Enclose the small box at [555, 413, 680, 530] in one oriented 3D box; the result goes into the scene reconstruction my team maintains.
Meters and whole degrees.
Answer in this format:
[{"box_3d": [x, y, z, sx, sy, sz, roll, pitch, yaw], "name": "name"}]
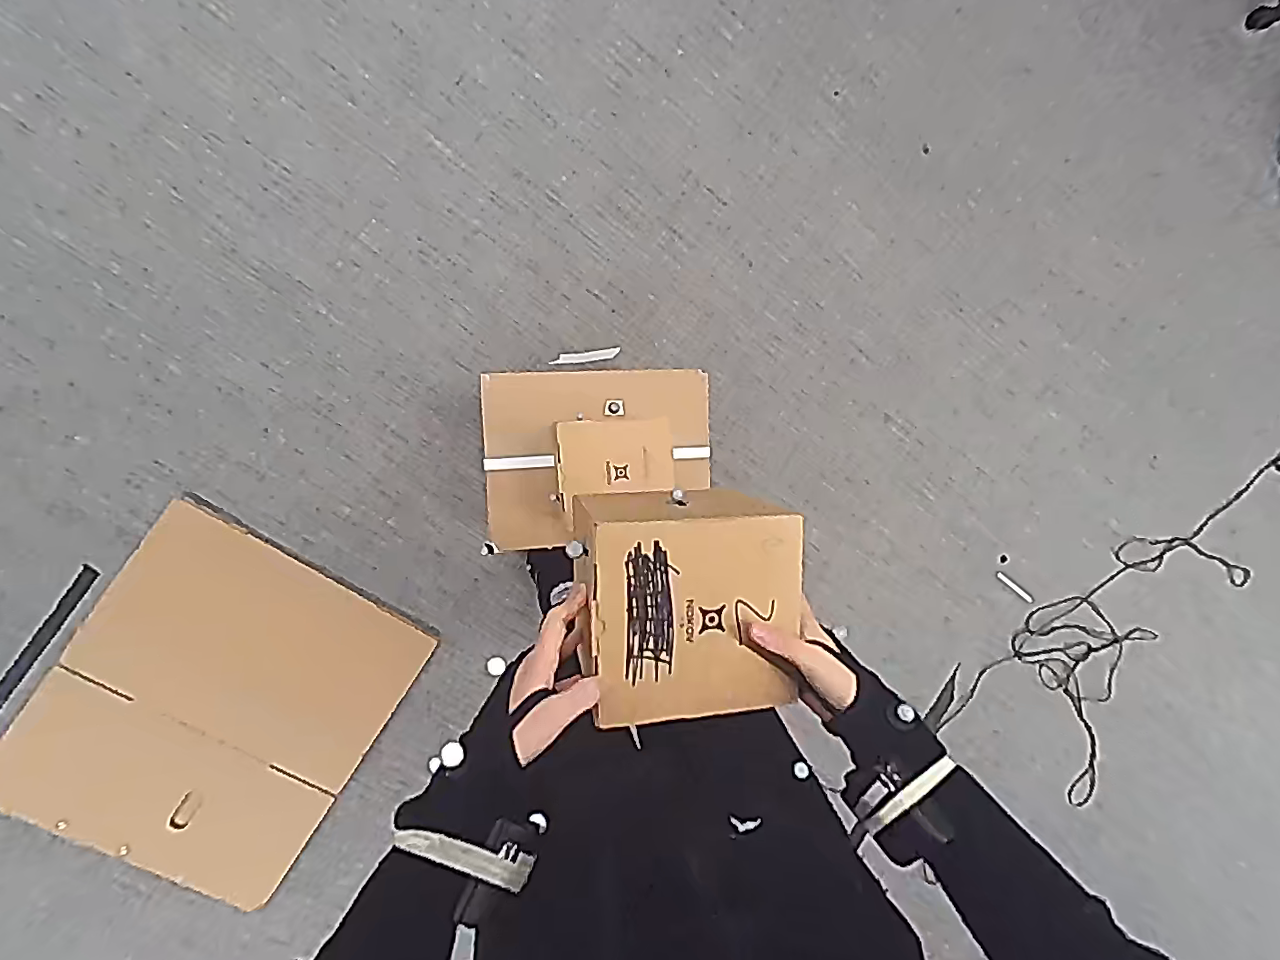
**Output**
[{"box_3d": [-0.045, -0.018, 0.883, 0.179, 0.176, 0.168, -6, 96, -12], "name": "small box"}]
